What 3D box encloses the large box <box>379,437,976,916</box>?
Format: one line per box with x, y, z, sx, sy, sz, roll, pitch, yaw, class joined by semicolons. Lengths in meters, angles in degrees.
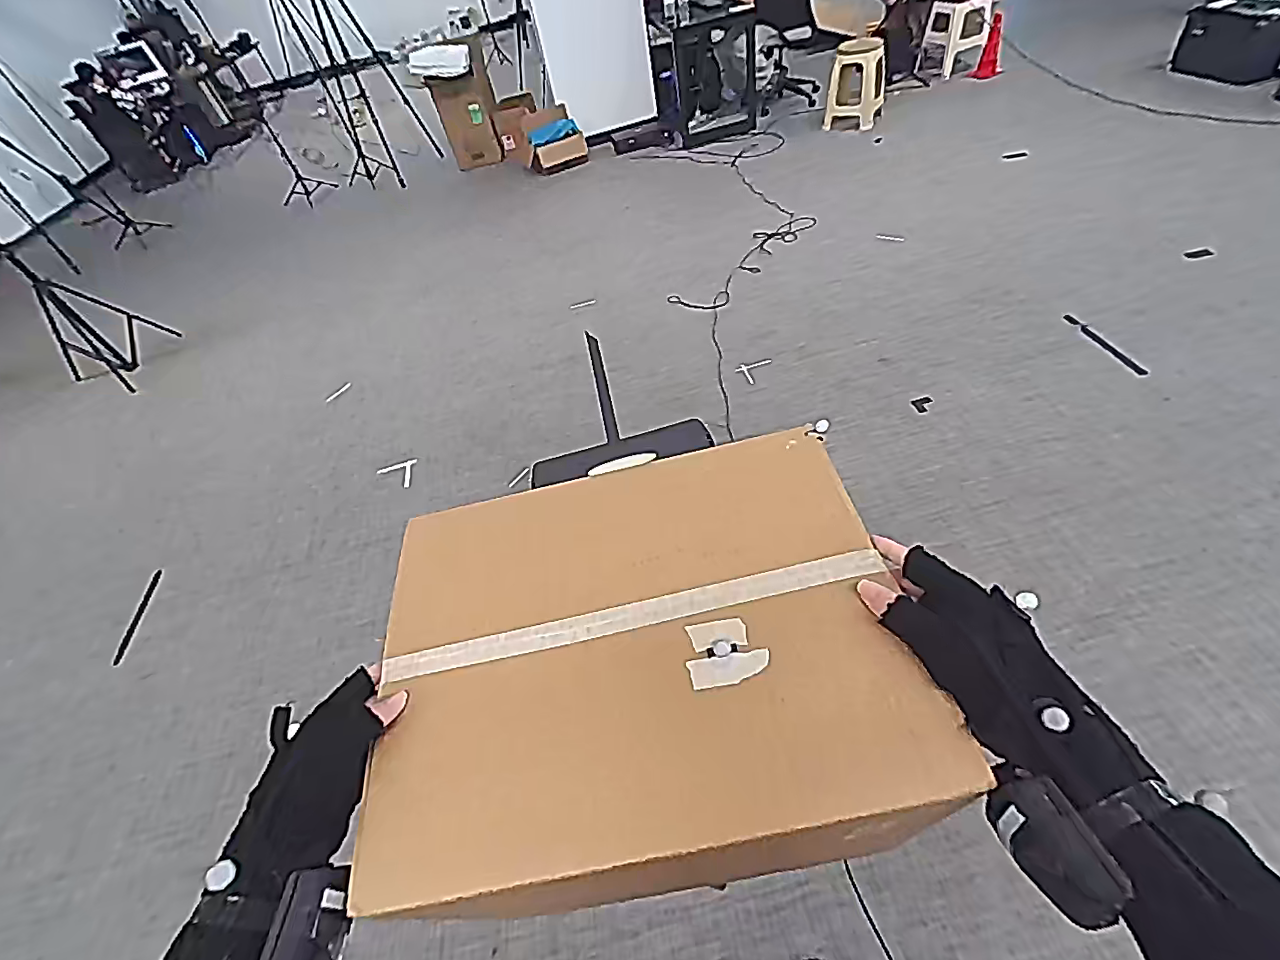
0.023;0.209;0.552;0.408;0.320;0.320;-13;50;2;large box
